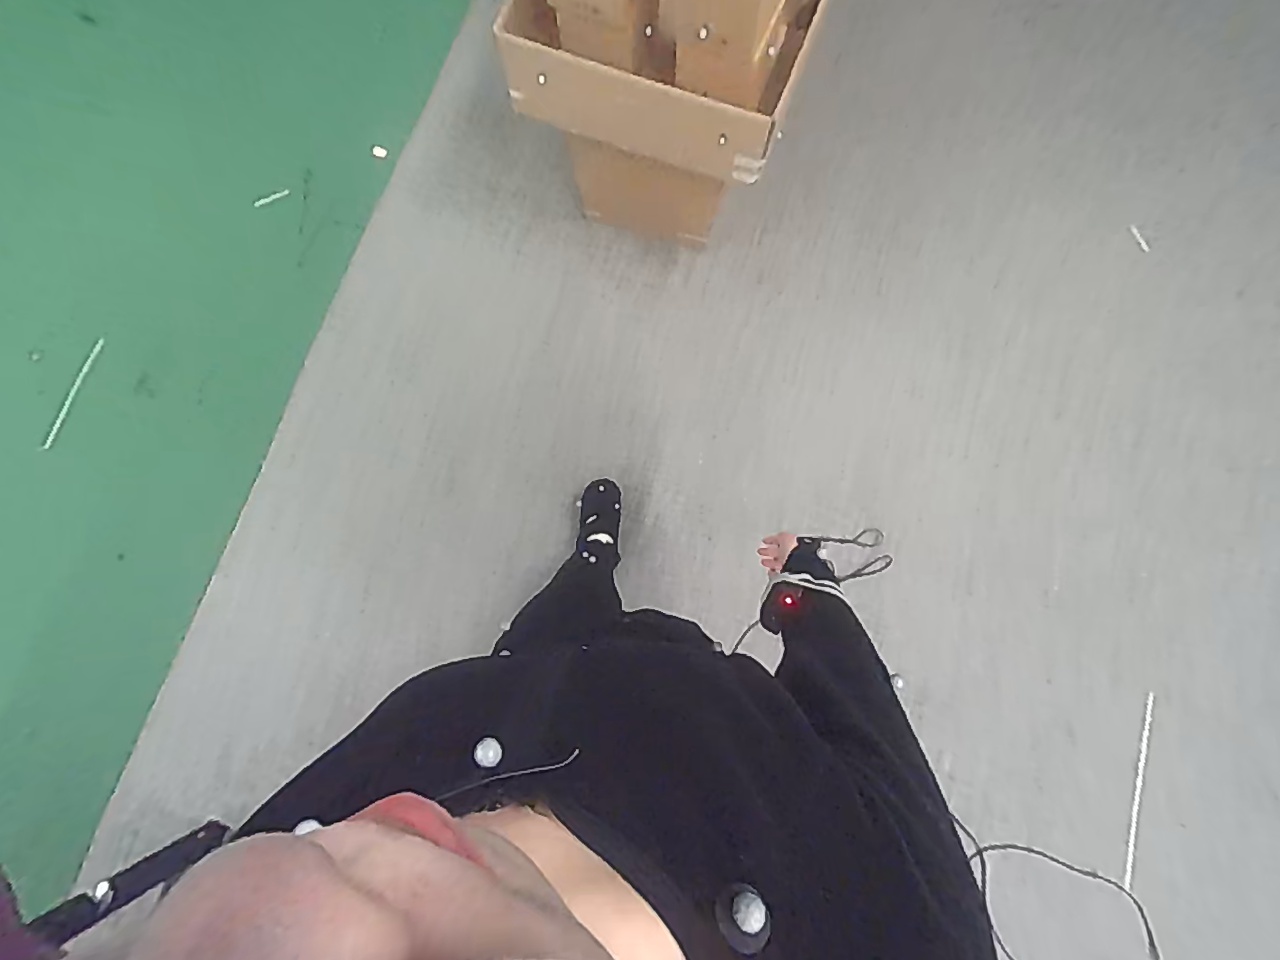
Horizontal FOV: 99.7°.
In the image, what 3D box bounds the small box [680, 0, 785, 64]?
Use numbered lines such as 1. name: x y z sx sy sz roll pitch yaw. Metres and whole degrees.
1. small box: 0.176 -0.915 0.976 0.168 0.176 0.179 24 83 8
